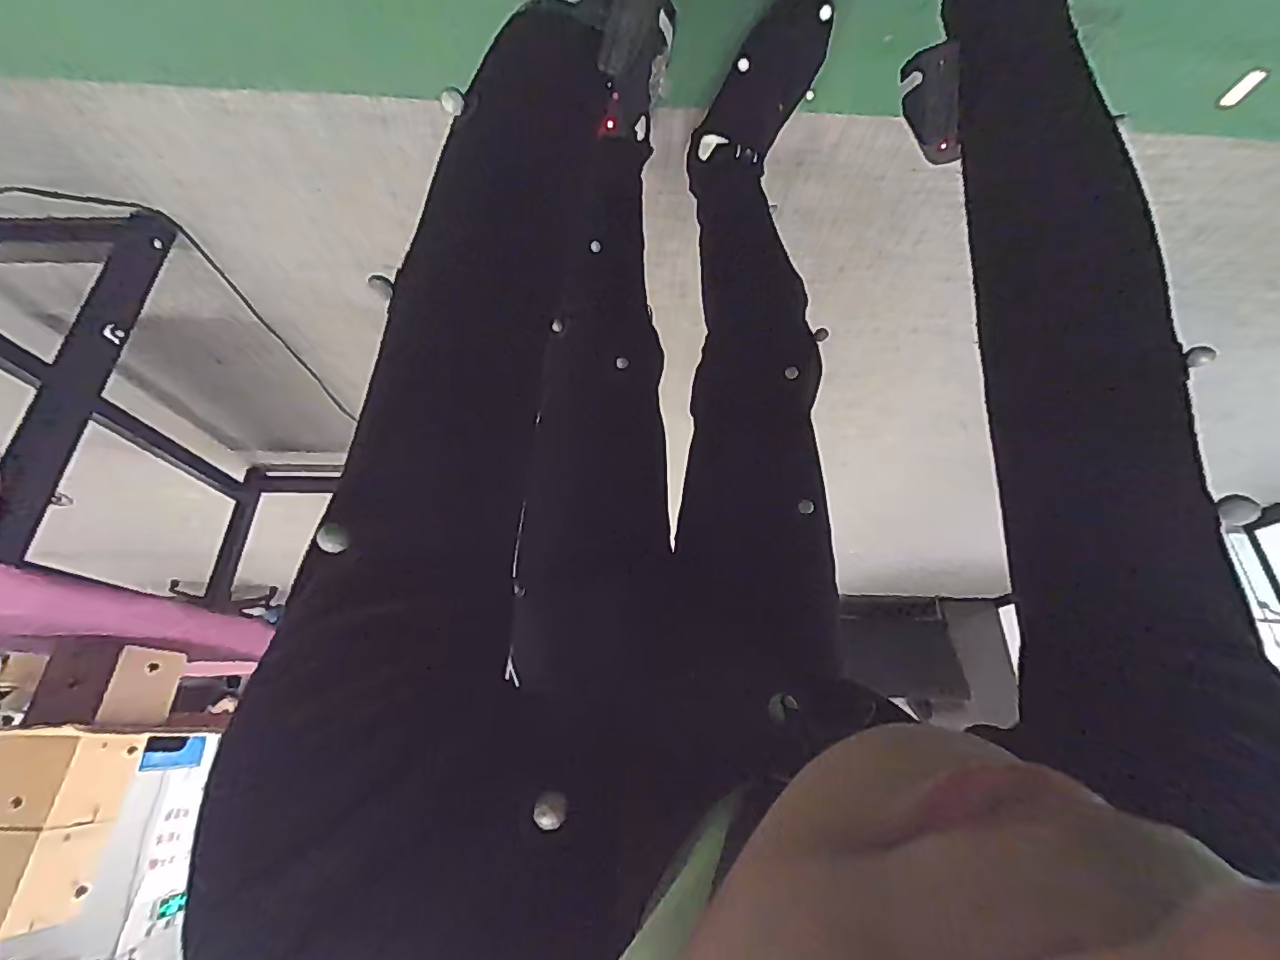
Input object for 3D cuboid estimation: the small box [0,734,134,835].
[{"bbox_3d":[-1.209,0.621,1.116,0.179,0.176,0.168,0,153,1],"label":"small box"}]
